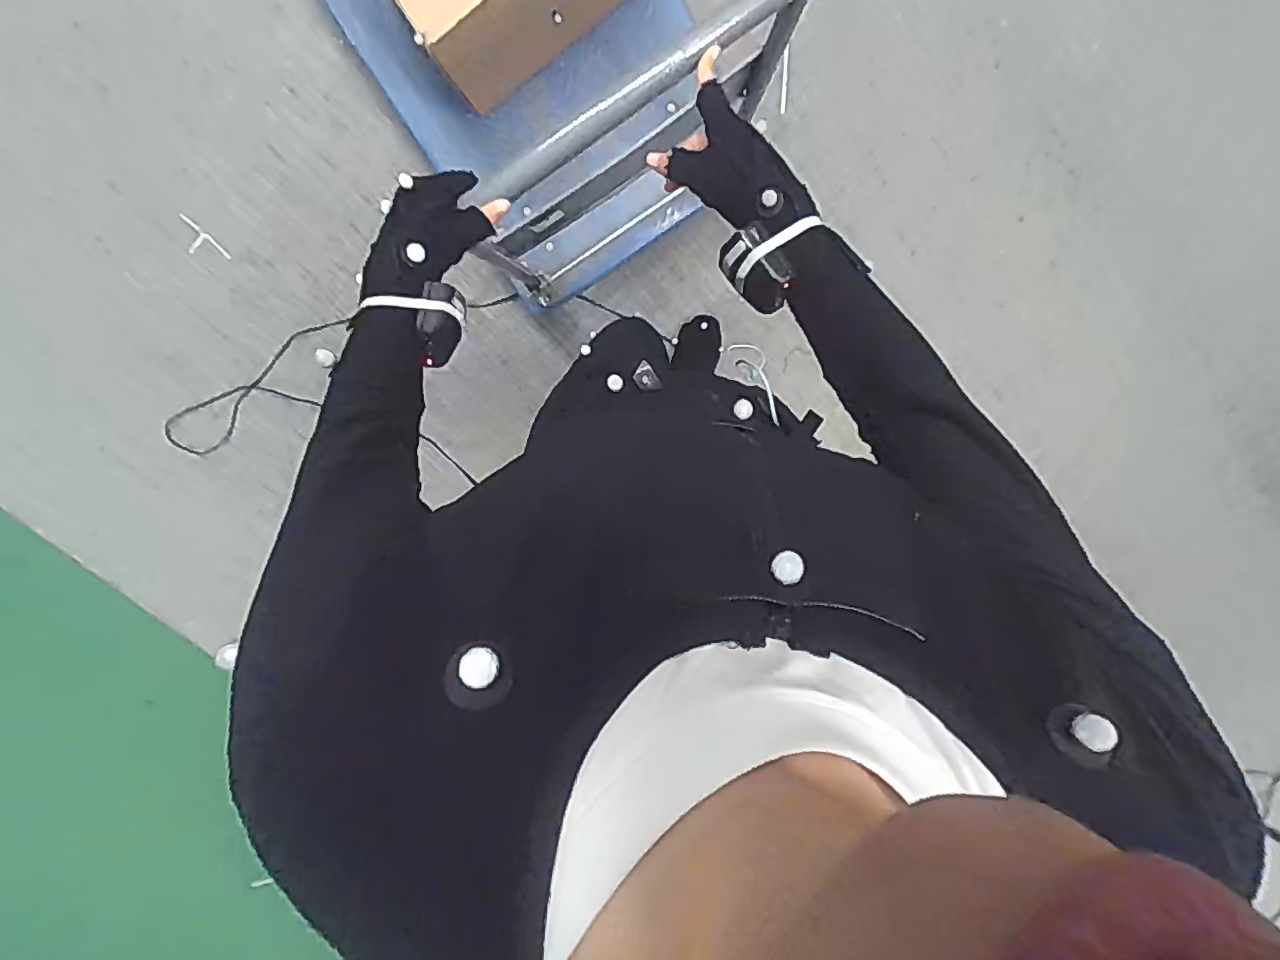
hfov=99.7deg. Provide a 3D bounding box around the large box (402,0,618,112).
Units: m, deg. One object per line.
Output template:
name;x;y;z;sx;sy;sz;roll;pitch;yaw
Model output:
large box;-0.225;-0.909;0.867;0.408;0.320;0.320;-34;105;10
